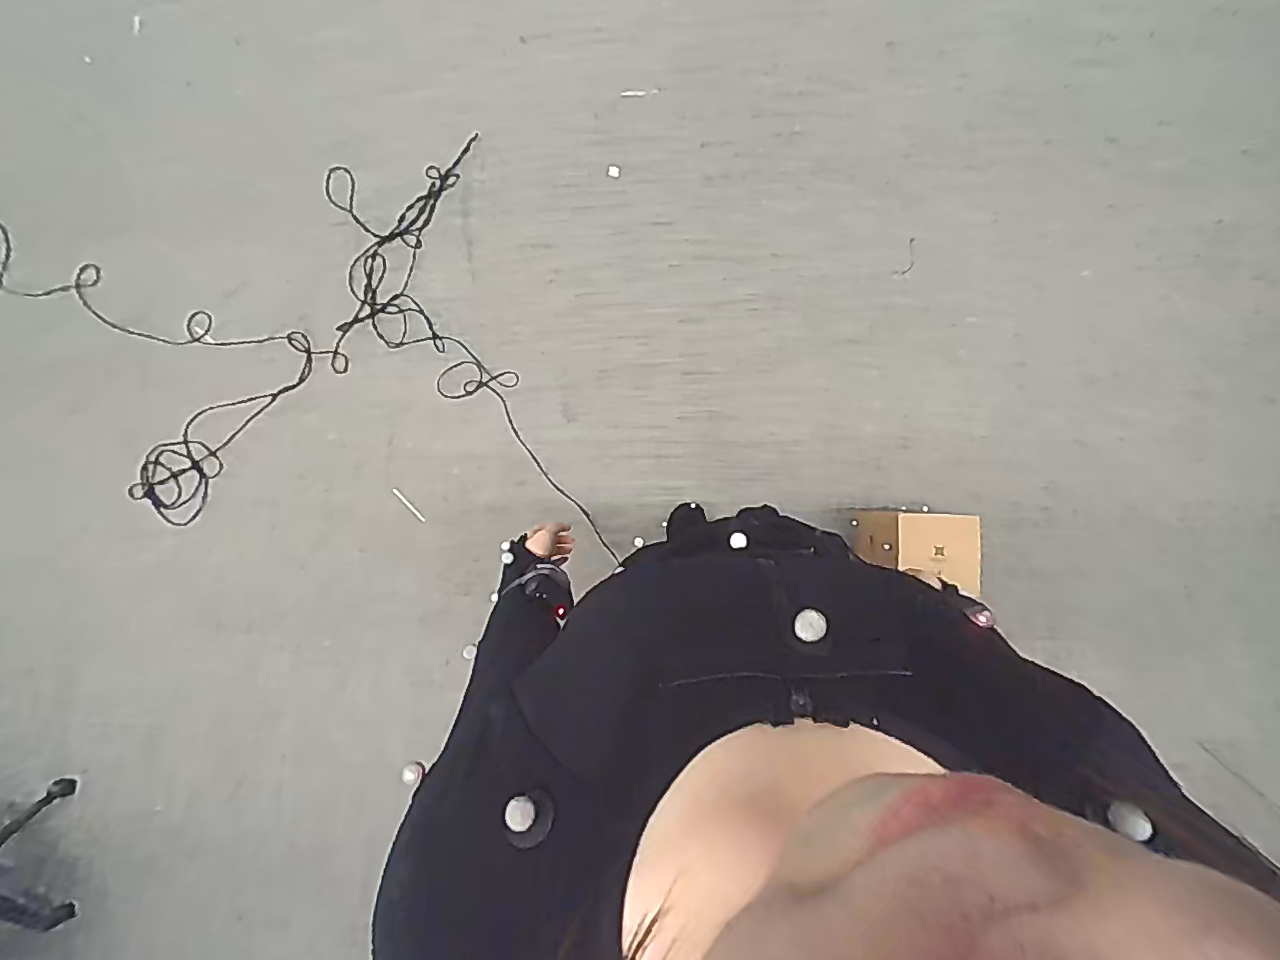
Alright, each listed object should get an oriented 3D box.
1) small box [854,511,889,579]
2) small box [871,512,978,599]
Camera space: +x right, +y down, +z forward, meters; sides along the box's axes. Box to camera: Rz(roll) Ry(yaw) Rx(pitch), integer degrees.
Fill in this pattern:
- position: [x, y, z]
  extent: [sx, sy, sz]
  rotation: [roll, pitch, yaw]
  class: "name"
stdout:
- position: [0.654, 0.165, 1.376]
  extent: [0.179, 0.176, 0.168]
  rotation: [1, 88, 5]
  class: "small box"
- position: [0.629, 0.161, 1.213]
  extent: [0.168, 0.176, 0.179]
  rotation: [1, 88, 7]
  class: "small box"
